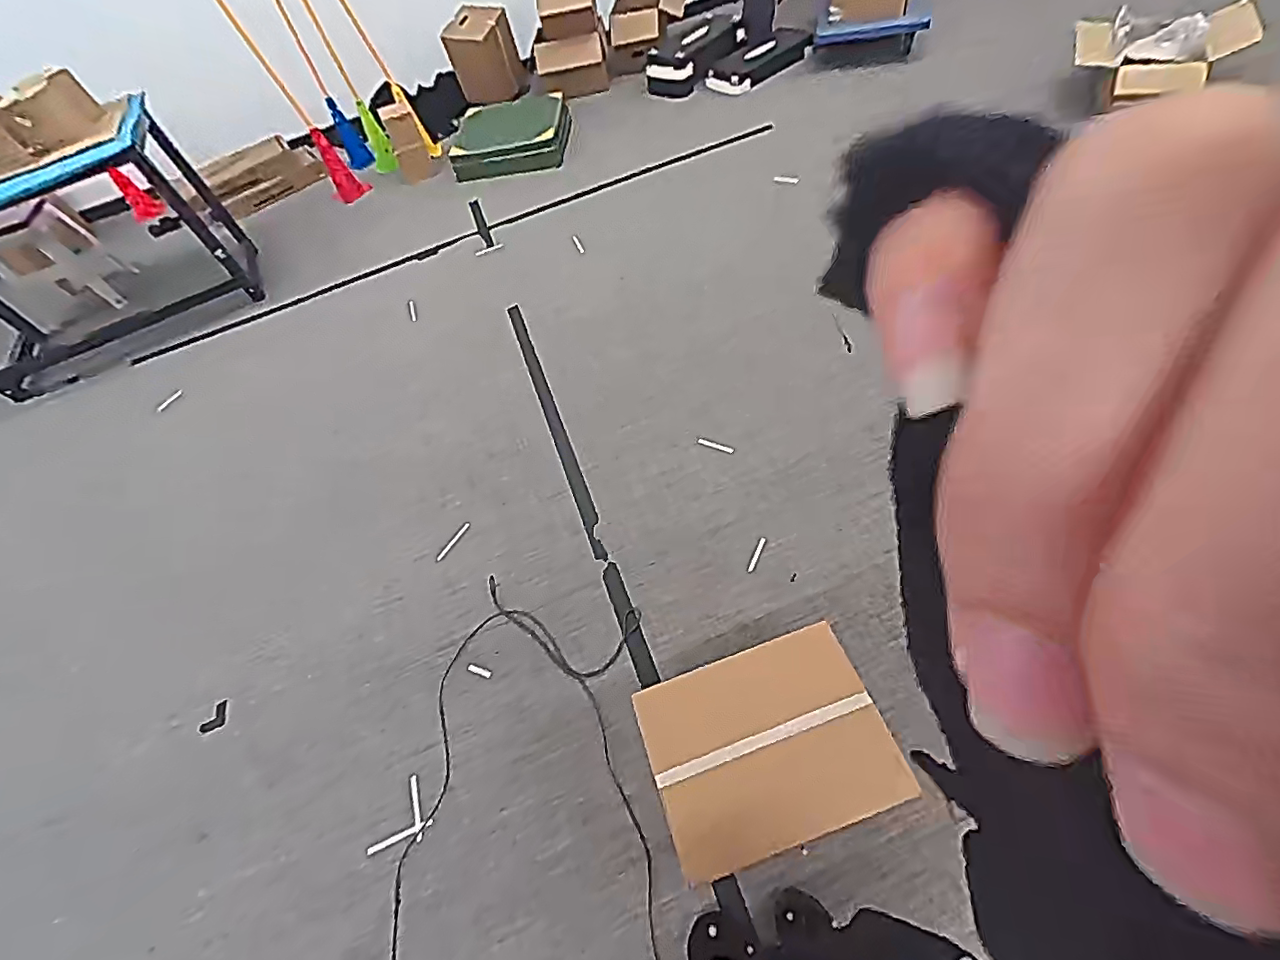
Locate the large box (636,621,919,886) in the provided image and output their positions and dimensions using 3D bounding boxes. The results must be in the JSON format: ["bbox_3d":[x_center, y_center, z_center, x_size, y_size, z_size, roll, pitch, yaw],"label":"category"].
[{"bbox_3d":[0.246,0.542,1.066,0.408,0.320,0.320,-20,54,-3],"label":"large box"}]
